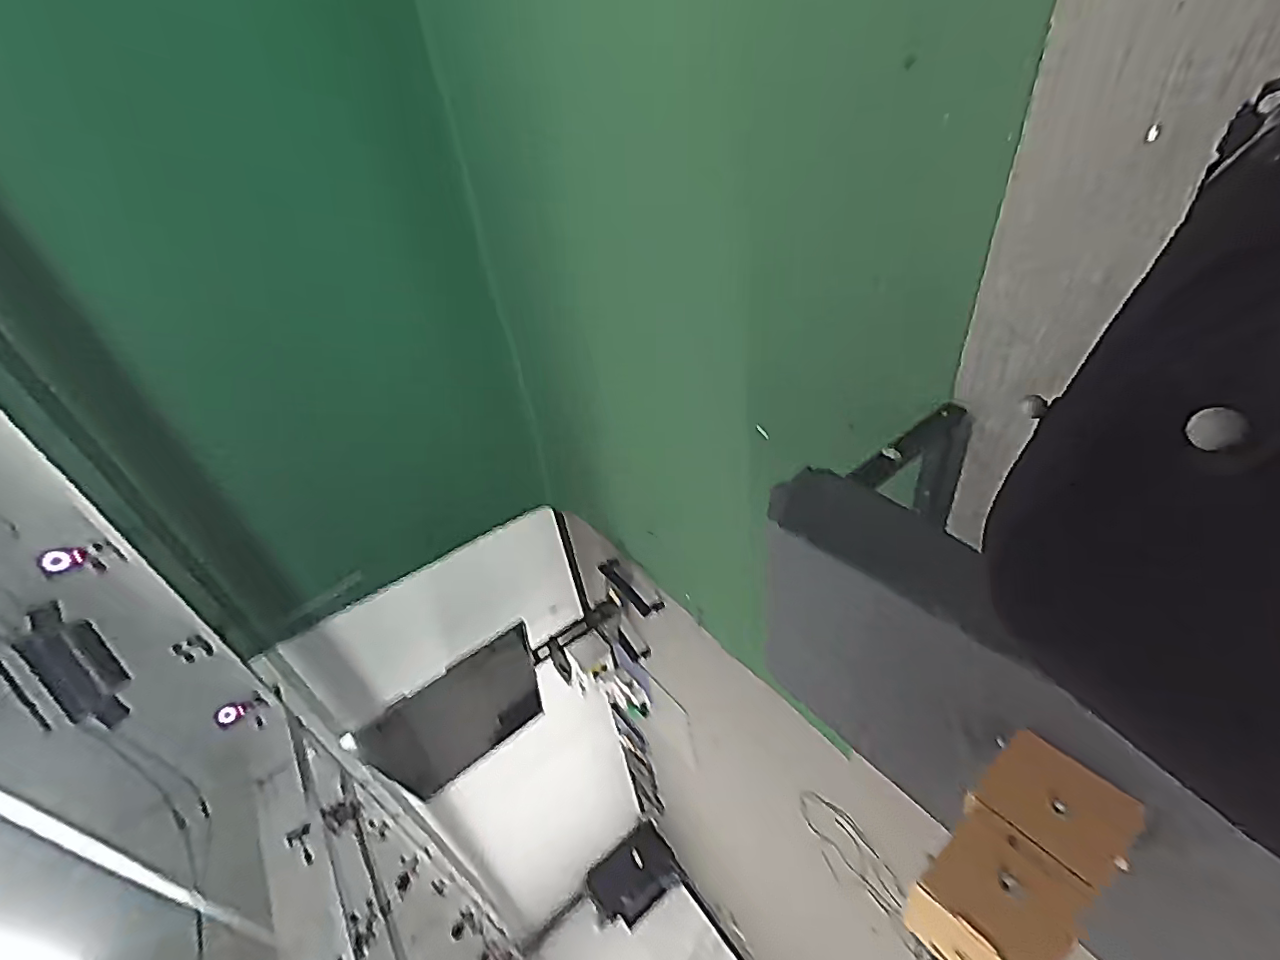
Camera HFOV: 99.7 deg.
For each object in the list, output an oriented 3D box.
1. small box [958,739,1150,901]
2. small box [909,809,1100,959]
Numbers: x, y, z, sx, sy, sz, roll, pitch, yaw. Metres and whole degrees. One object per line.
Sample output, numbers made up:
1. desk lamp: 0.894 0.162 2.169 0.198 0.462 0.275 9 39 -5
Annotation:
1. small box: 0.651 0.550 0.864 0.179 0.176 0.168 31 143 48
2. small box: 0.529 0.632 0.793 0.168 0.176 0.179 33 143 45
